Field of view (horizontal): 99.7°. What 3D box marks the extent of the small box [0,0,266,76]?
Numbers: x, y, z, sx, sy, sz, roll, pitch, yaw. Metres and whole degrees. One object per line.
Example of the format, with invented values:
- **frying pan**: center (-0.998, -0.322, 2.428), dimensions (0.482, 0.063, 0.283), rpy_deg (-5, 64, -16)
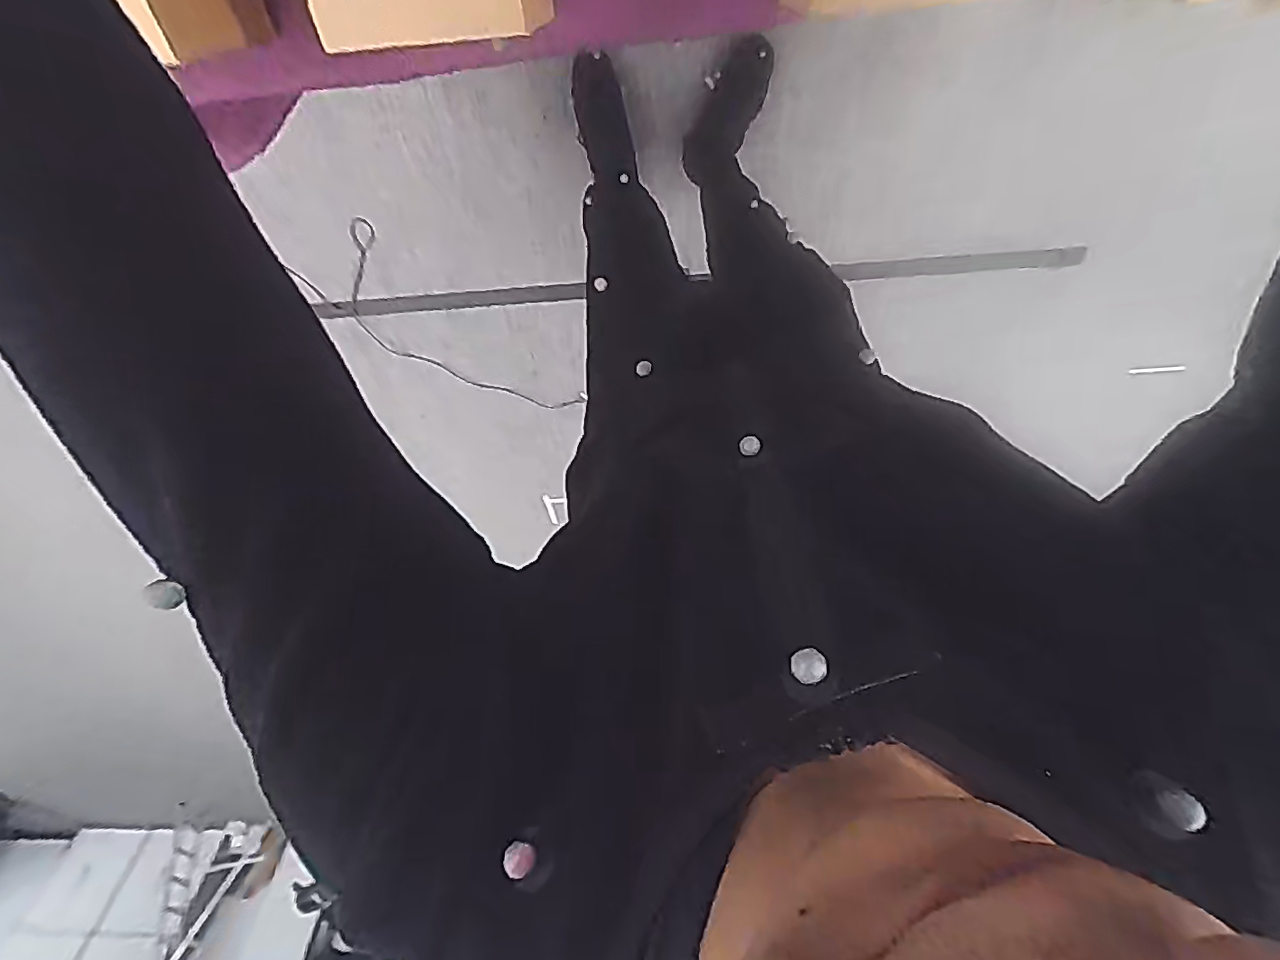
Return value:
- **small box**: center (-0.483, -0.466, 0.469), dimensions (0.179, 0.176, 0.168), rpy_deg (-3, 134, 3)
